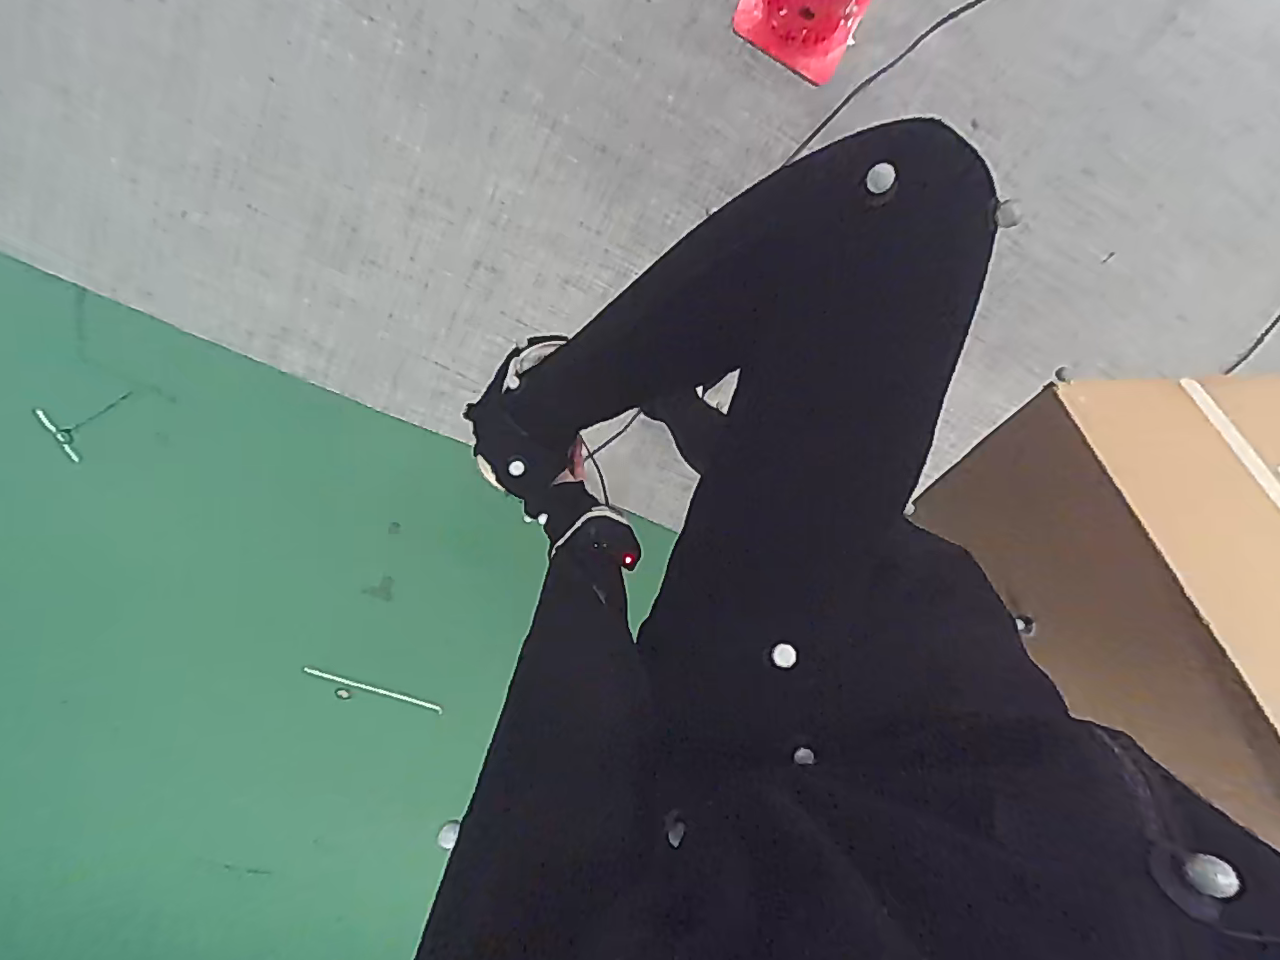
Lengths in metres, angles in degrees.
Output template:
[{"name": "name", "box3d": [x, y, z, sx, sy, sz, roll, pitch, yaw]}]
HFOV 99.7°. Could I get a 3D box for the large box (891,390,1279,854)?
[{"name": "large box", "box3d": [0.563, 0.153, 0.616, 0.320, 0.408, 0.320, -2, 149, -10]}]
